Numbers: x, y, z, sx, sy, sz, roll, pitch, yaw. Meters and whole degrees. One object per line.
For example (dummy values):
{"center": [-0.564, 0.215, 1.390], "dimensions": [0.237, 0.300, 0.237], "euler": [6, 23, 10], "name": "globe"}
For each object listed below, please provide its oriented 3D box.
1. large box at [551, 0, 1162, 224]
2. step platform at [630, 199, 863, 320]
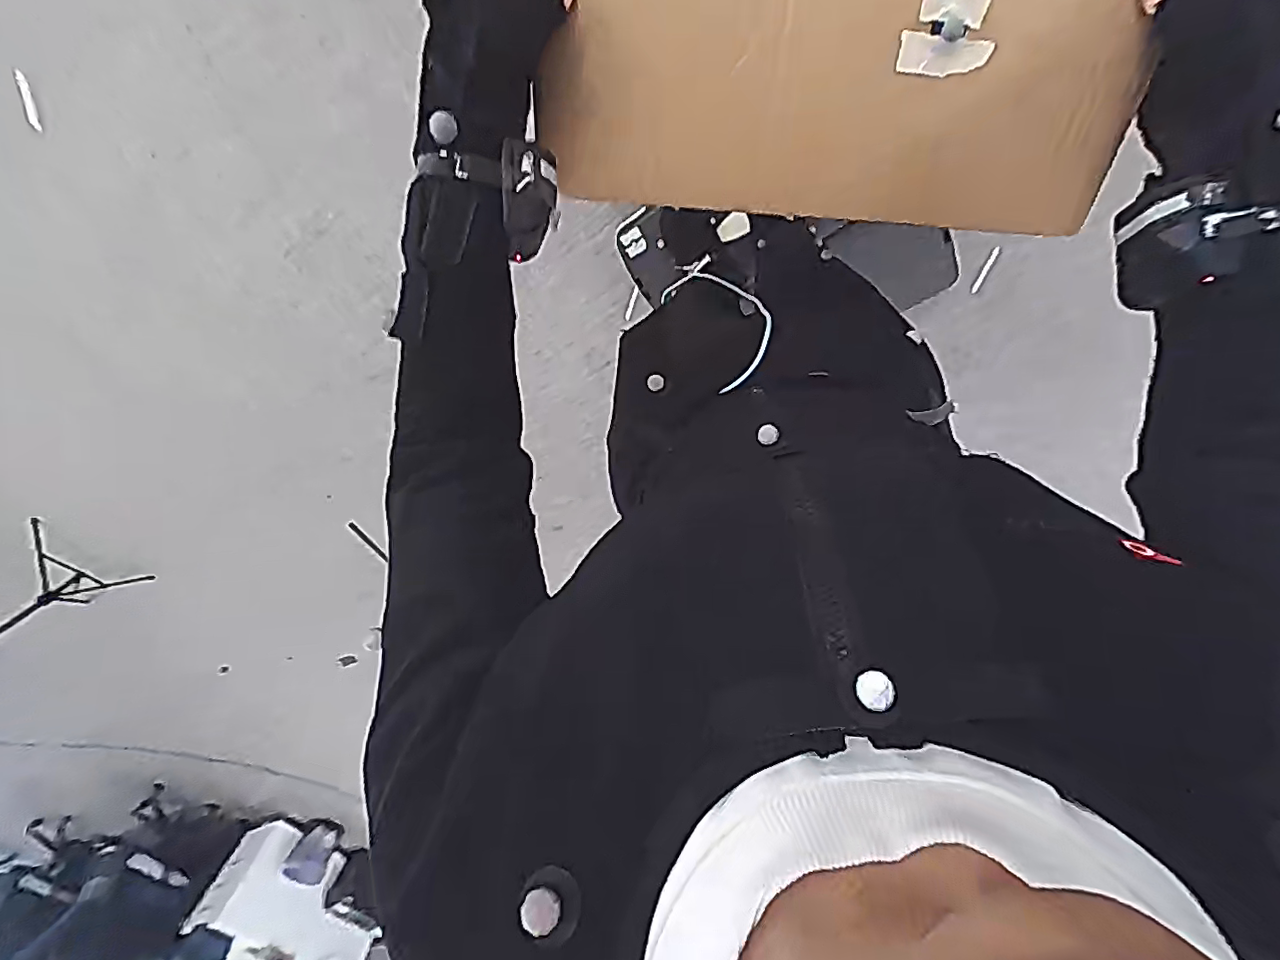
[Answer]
{"center": [0.147, -0.421, 0.466], "dimensions": [0.408, 0.320, 0.320], "euler": [6, 123, 1], "name": "large box"}
{"center": [0.311, -0.674, 1.258], "dimensions": [0.684, 0.204, 0.286], "euler": [-29, 115, 23], "name": "step platform"}
